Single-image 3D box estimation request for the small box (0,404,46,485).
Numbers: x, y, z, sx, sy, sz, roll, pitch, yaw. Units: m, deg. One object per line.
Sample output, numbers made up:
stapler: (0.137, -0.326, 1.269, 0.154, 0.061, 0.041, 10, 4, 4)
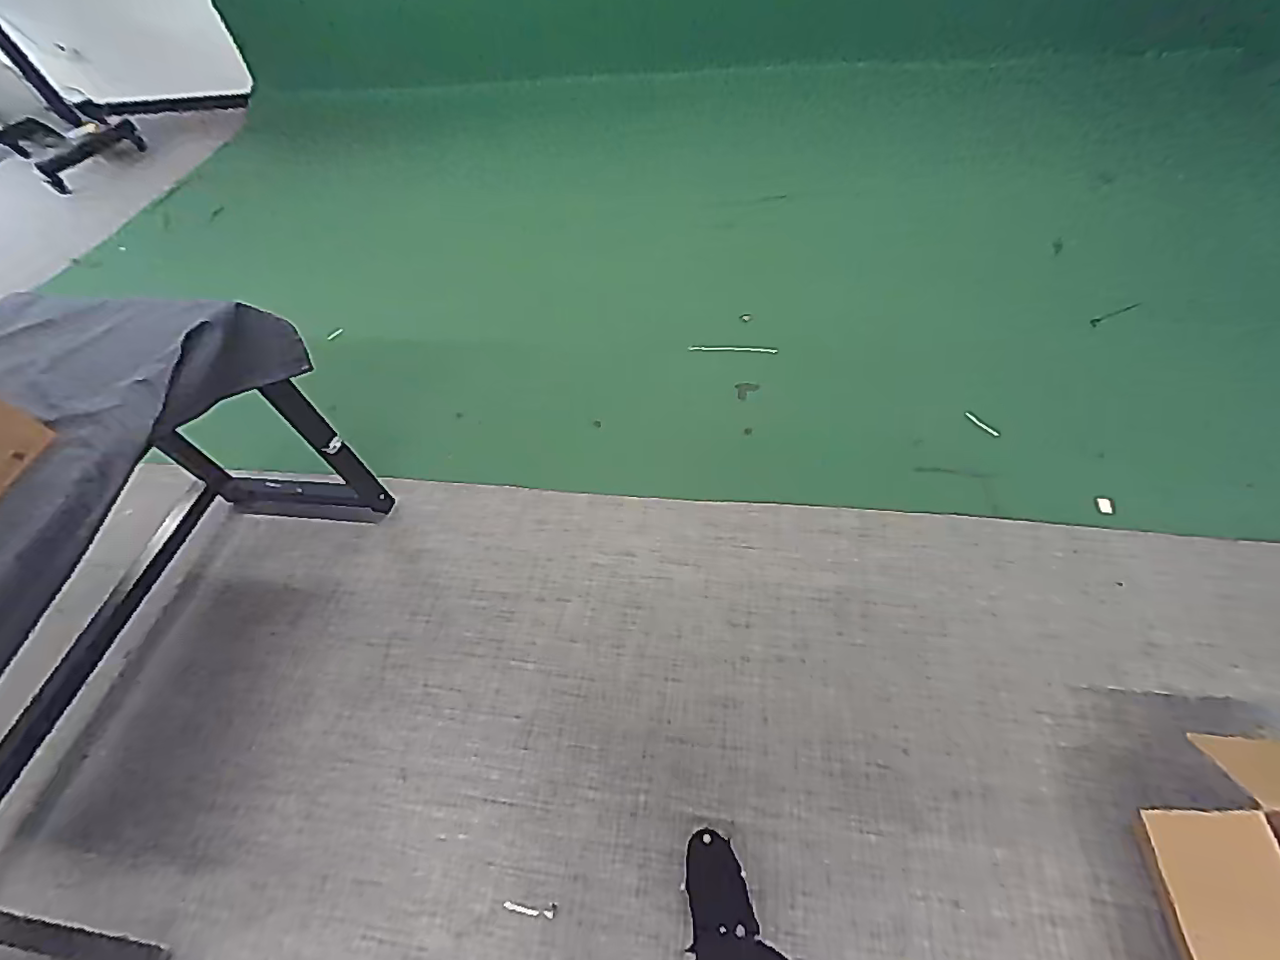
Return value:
small box: (-1.096, -0.062, 0.820, 0.179, 0.176, 0.168, 4, 56, 9)
